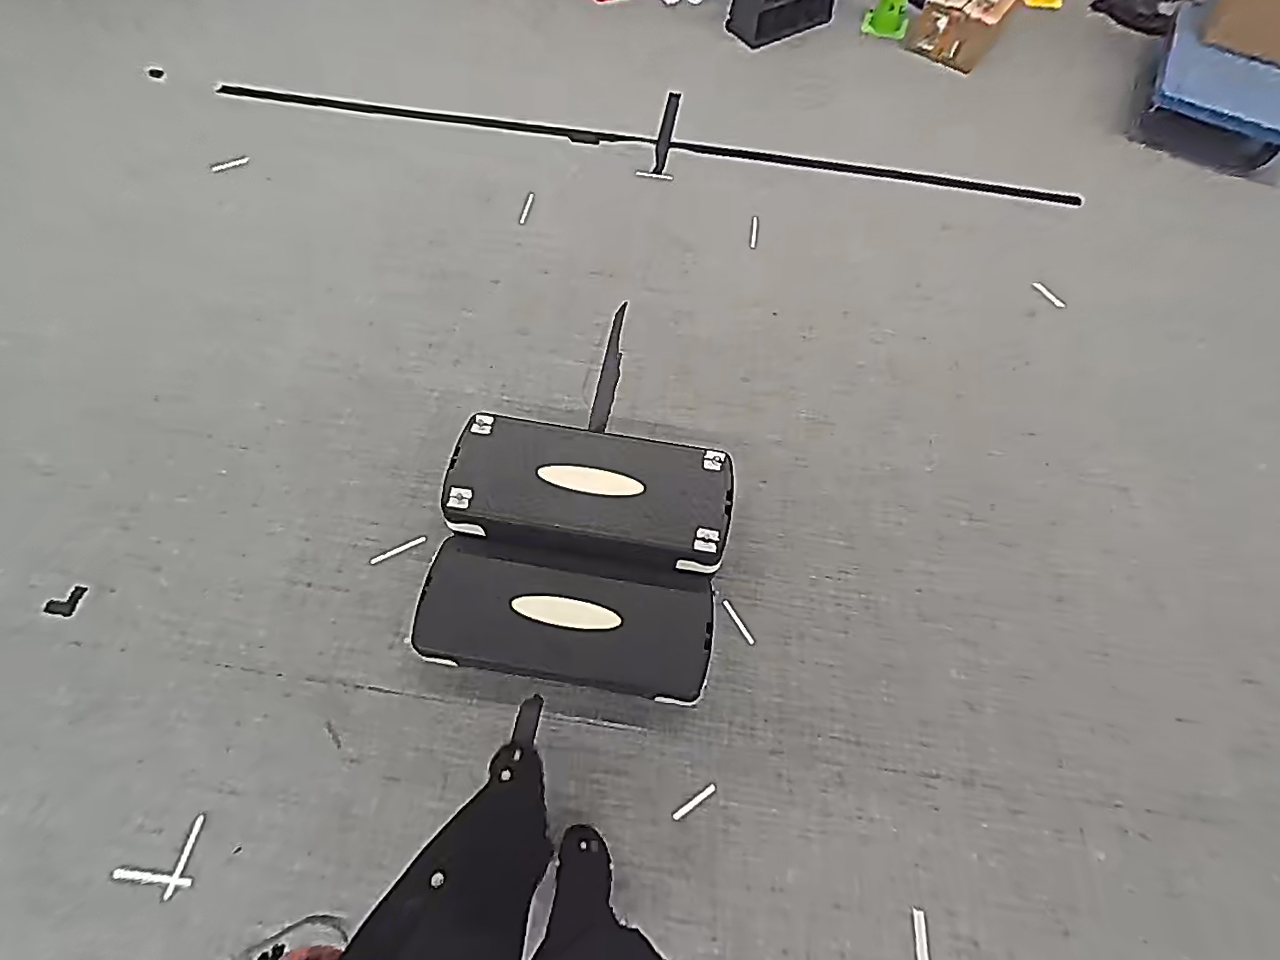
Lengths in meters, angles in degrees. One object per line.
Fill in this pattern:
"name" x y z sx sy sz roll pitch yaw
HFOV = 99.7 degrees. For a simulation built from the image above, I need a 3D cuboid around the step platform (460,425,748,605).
"step platform" -0.082 0.084 1.335 0.684 0.204 0.286 13 63 3
